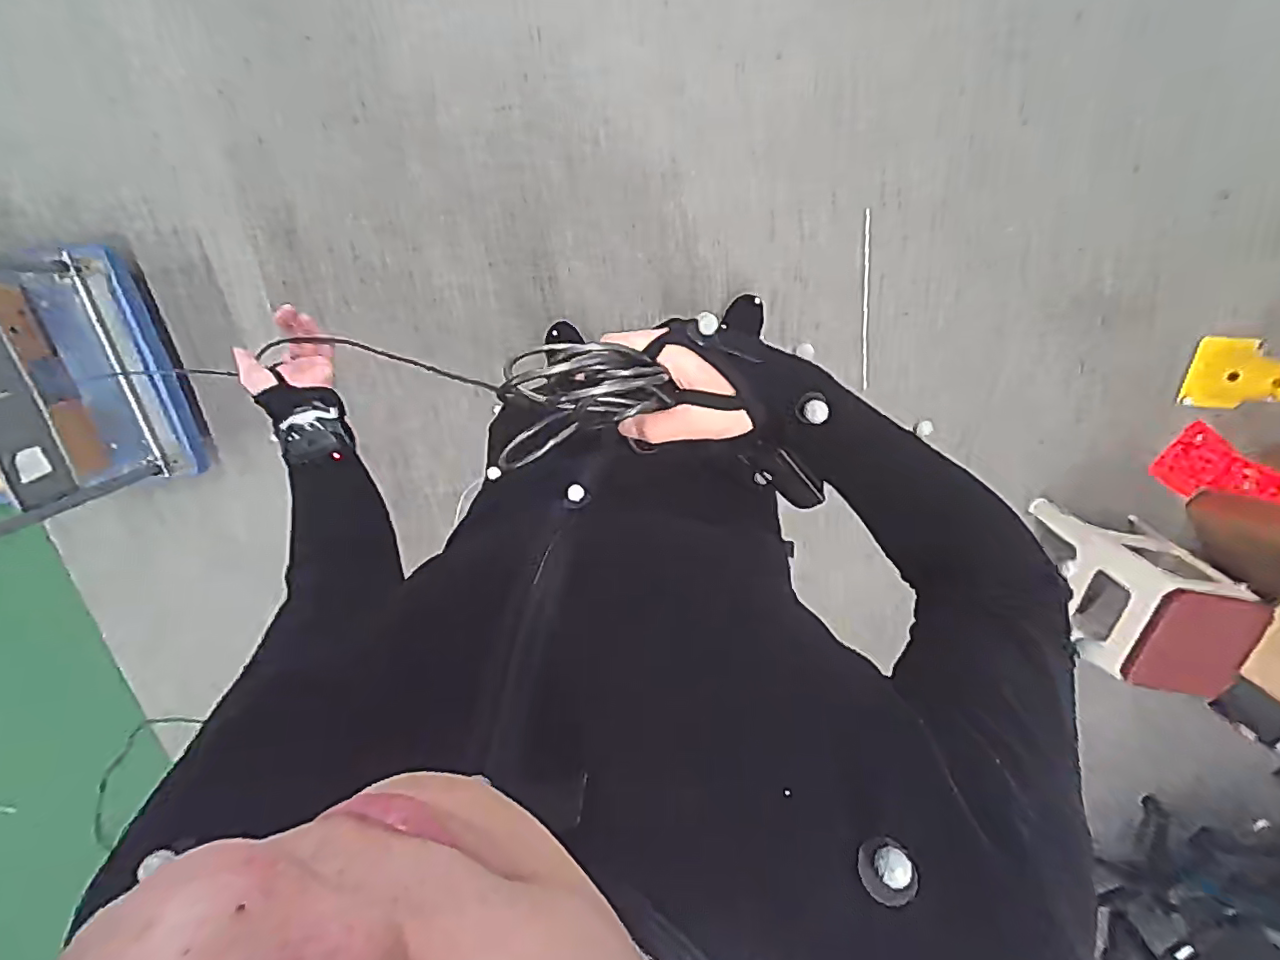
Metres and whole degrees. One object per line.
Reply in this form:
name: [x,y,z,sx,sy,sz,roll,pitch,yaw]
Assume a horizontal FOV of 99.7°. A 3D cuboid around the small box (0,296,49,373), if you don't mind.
small box: [-1.515,-0.319,1.207,0.179,0.176,0.168,-7,109,-1]
